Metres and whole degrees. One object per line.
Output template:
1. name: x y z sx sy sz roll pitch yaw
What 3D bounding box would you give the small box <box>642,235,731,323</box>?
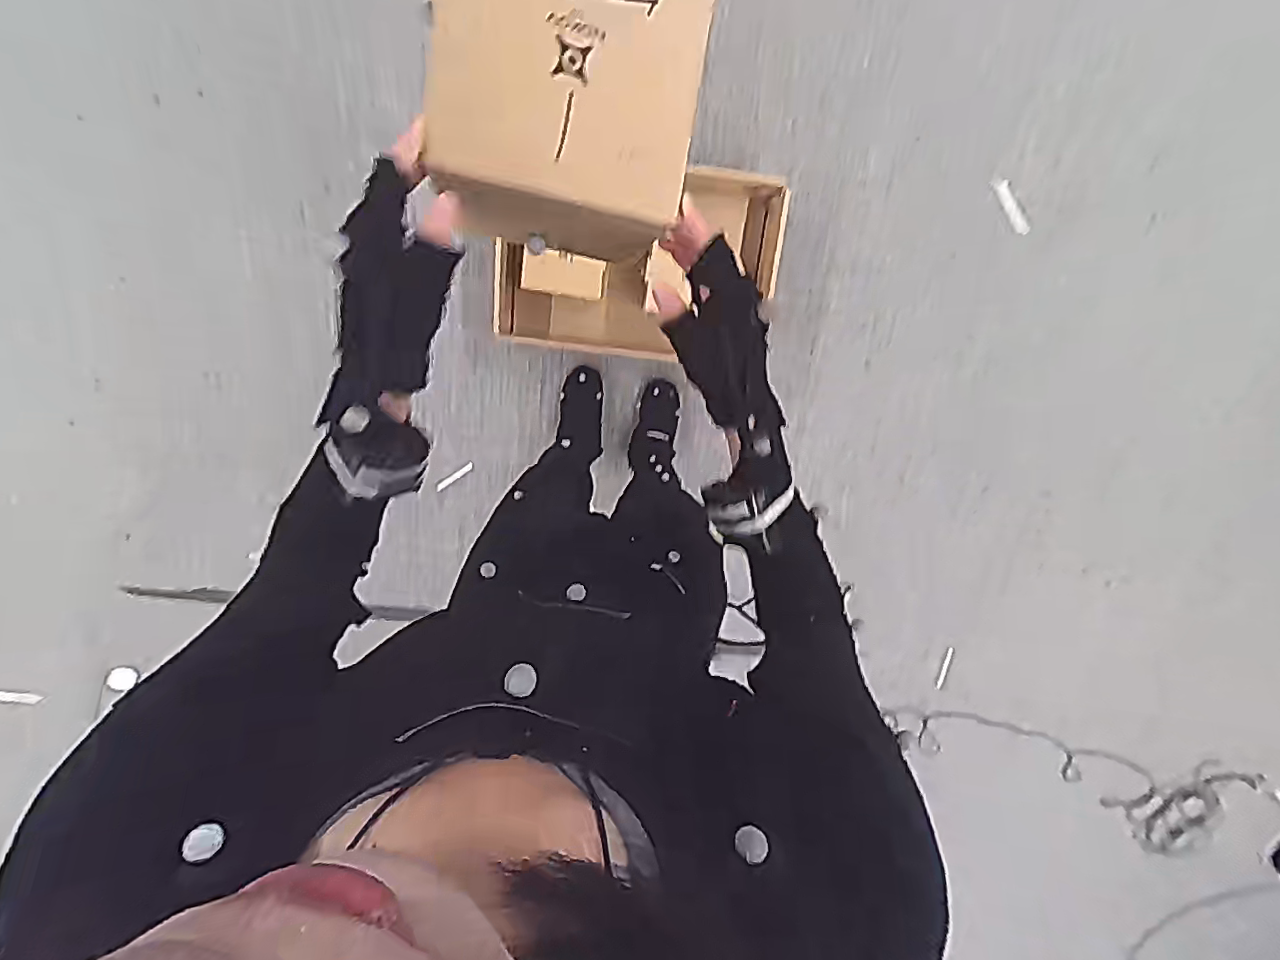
1. small box: 0.100 -0.456 1.250 0.179 0.176 0.168 7 107 -2

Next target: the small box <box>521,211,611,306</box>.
1. small box: -0.164 -0.494 1.229 0.179 0.176 0.168 8 105 -5
